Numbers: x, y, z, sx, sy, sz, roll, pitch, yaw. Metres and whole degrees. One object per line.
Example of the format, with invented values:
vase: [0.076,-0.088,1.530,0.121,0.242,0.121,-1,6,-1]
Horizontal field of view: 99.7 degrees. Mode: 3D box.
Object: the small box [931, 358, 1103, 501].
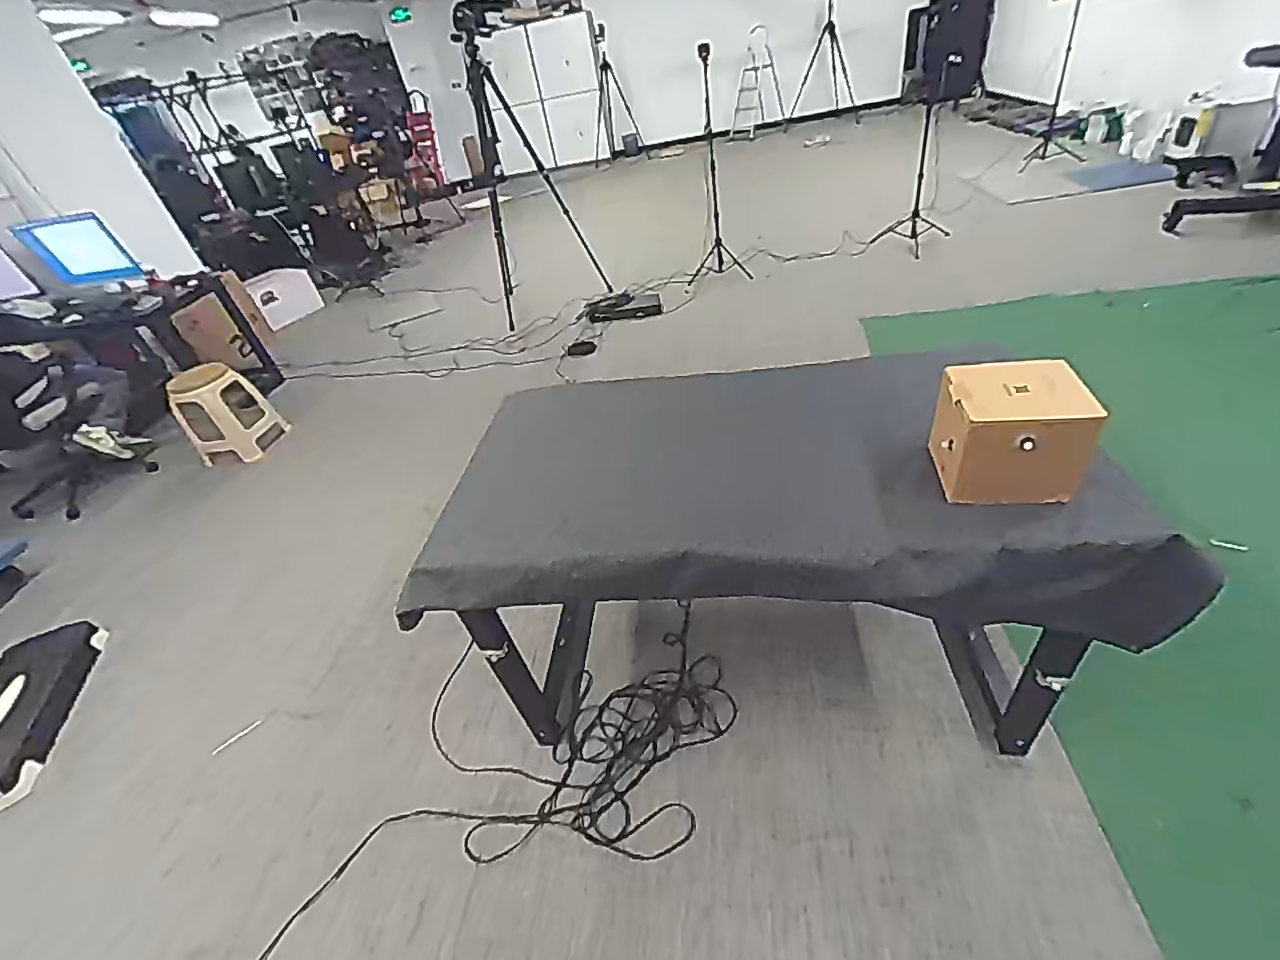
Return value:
small box: [0.587,-0.080,0.875,0.179,0.176,0.168,0,41,14]
